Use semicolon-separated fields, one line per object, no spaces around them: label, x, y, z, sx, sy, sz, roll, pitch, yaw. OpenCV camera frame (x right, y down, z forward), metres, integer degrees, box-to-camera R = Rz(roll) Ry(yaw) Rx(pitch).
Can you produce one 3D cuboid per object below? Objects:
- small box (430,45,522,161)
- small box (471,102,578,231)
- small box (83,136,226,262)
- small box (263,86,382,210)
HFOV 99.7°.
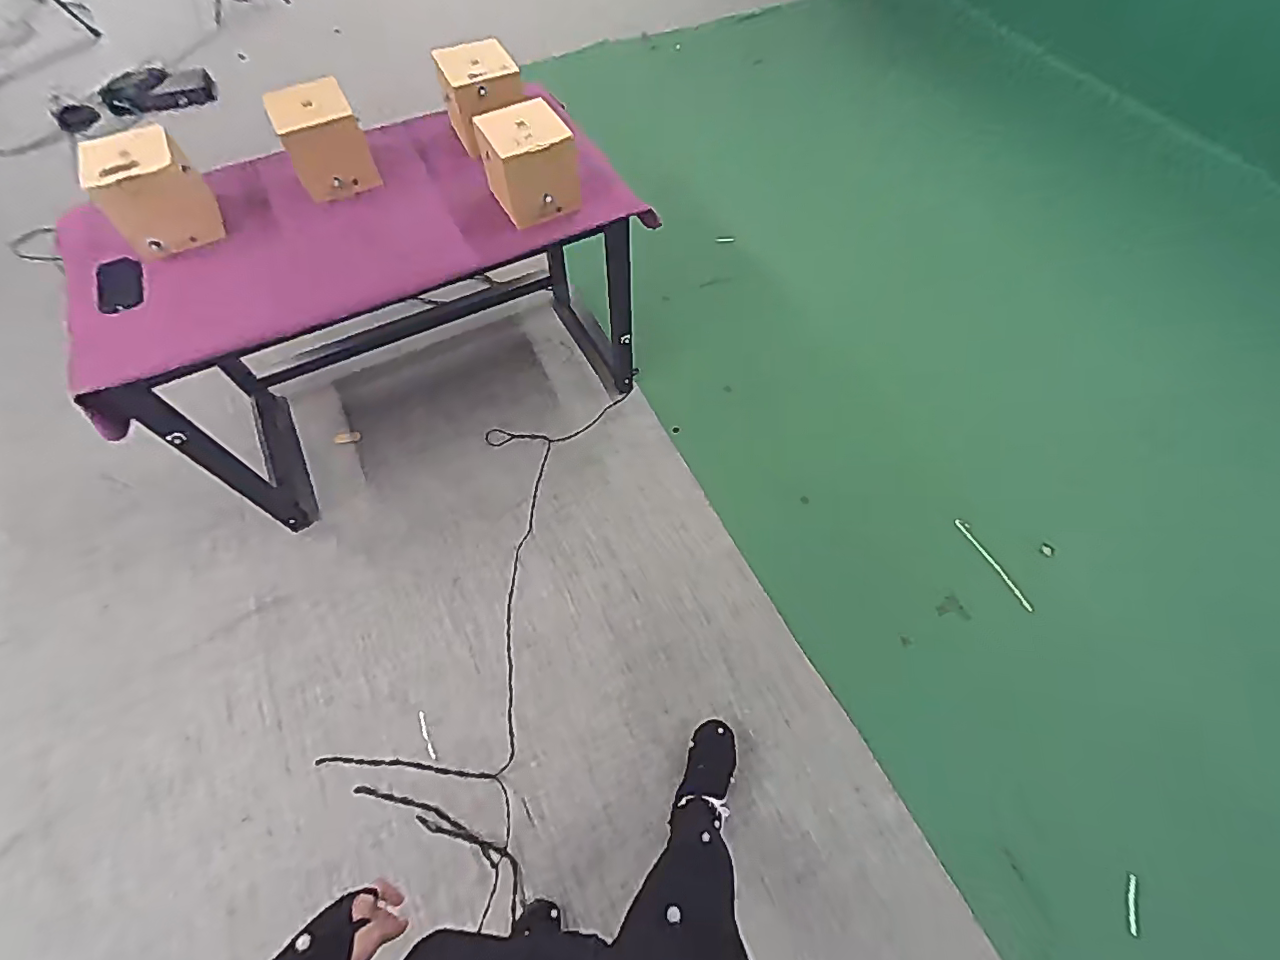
small box;-0.397;-0.940;1.355;0.168;0.176;0.179;-25;64;-11
small box;-0.254;-0.702;1.219;0.168;0.176;0.179;-27;65;-12
small box;-1.049;-0.603;1.180;0.168;0.176;0.179;-26;64;-13
small box;-0.741;-0.777;1.273;0.168;0.176;0.179;-26;65;-12
